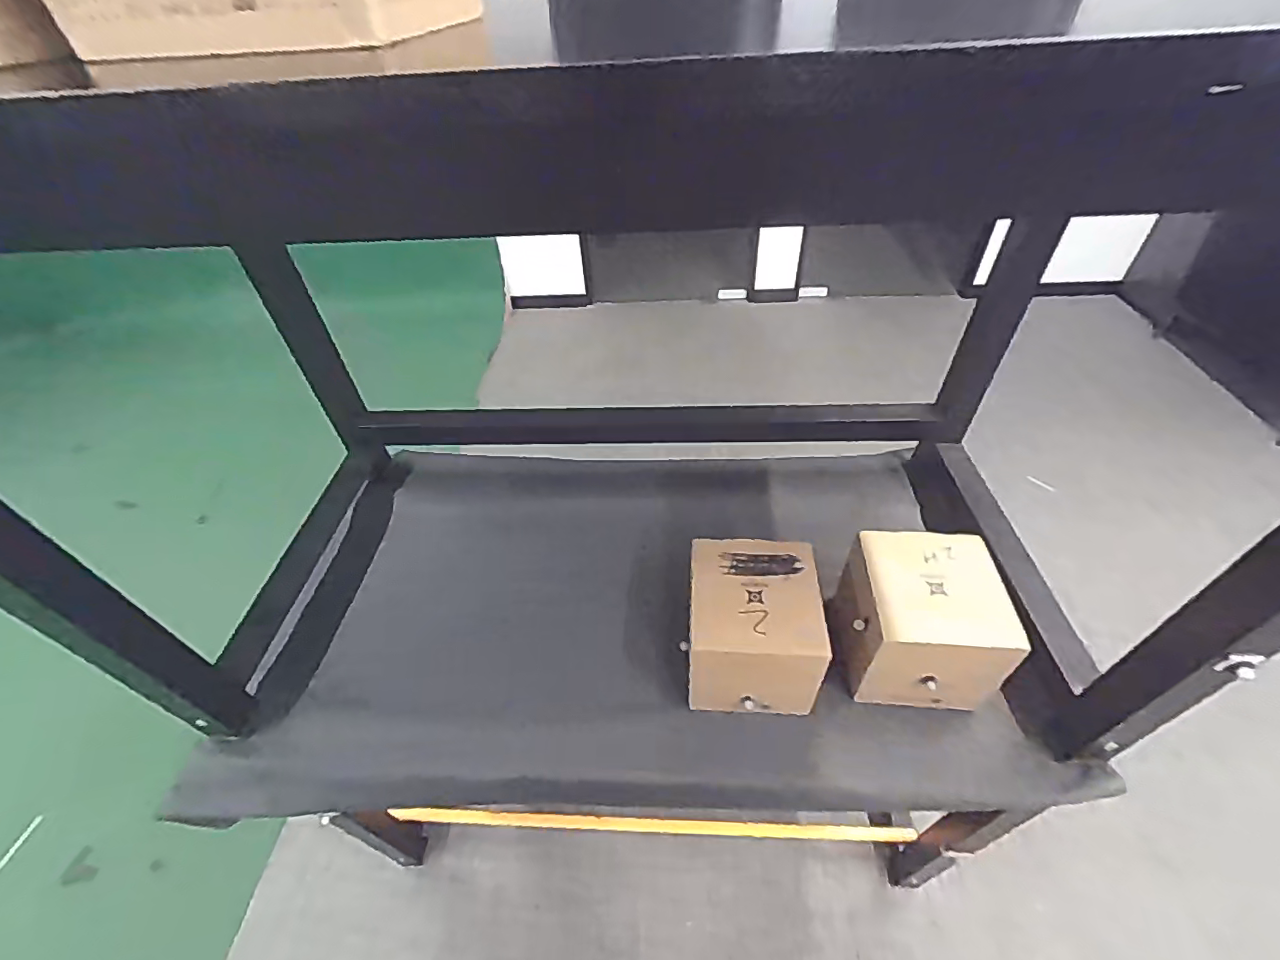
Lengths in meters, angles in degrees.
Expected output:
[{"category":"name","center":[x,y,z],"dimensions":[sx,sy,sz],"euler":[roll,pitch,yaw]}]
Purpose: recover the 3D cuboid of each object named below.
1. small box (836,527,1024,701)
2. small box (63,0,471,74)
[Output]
[{"category":"small box","center":[0.382,0.187,0.751],"dimensions":[0.168,0.176,0.179],"euler":[2,44,6]},{"category":"small box","center":[-0.206,-0.325,0.281],"dimensions":[0.168,0.176,0.179],"euler":[1,44,6]}]
